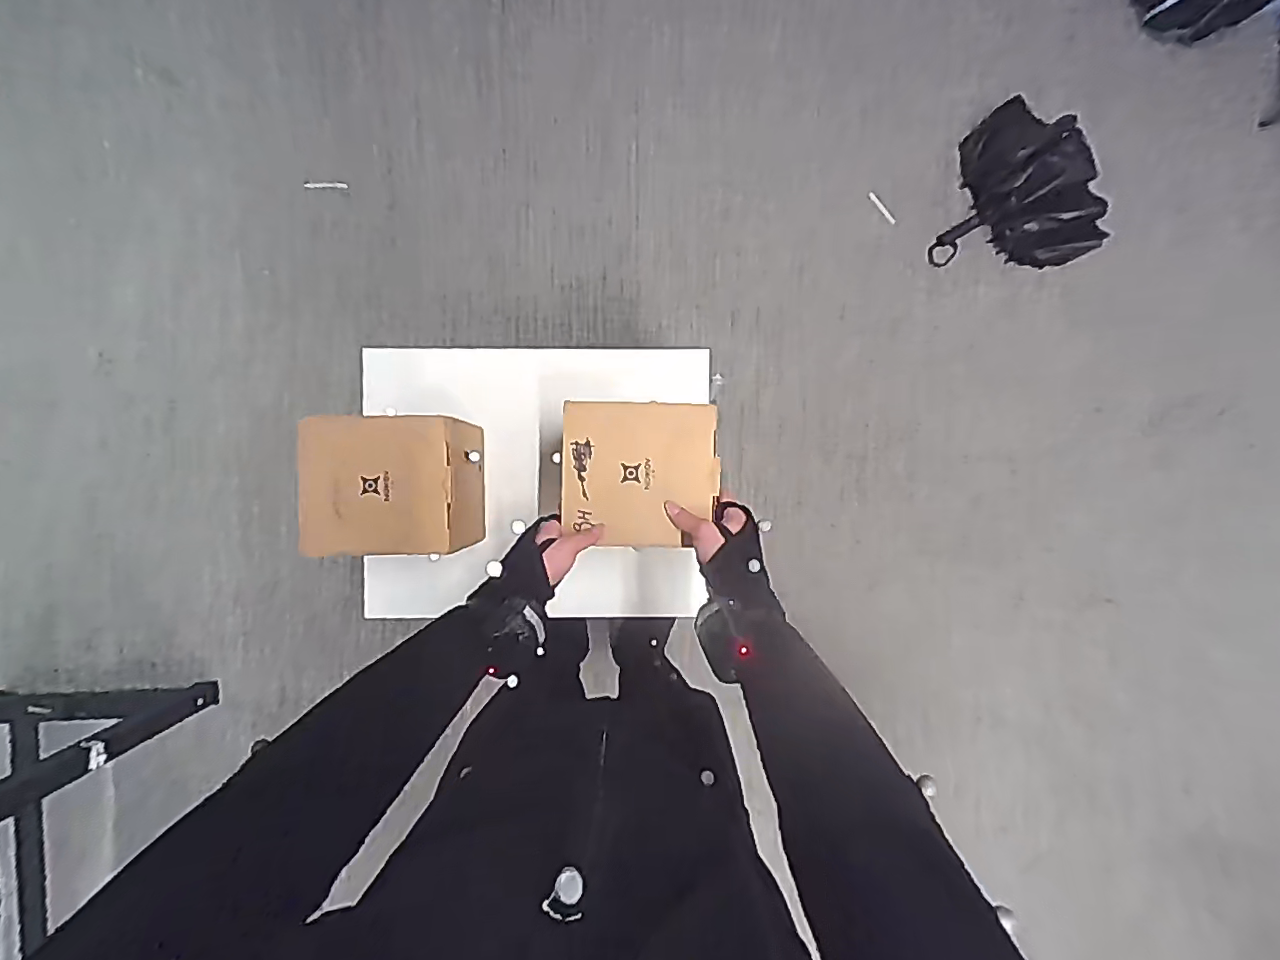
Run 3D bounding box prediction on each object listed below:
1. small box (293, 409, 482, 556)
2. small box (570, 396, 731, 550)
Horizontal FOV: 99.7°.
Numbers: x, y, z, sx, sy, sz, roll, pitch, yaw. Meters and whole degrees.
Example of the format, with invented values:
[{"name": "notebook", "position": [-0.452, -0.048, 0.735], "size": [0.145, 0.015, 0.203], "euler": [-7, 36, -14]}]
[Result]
[{"name": "small box", "position": [-0.302, 0.004, 0.683], "size": [0.179, 0.176, 0.168], "euler": [-1, 88, -3]}, {"name": "small box", "position": [0.007, -0.005, 0.677], "size": [0.179, 0.176, 0.168], "euler": [2, 87, -3]}]
